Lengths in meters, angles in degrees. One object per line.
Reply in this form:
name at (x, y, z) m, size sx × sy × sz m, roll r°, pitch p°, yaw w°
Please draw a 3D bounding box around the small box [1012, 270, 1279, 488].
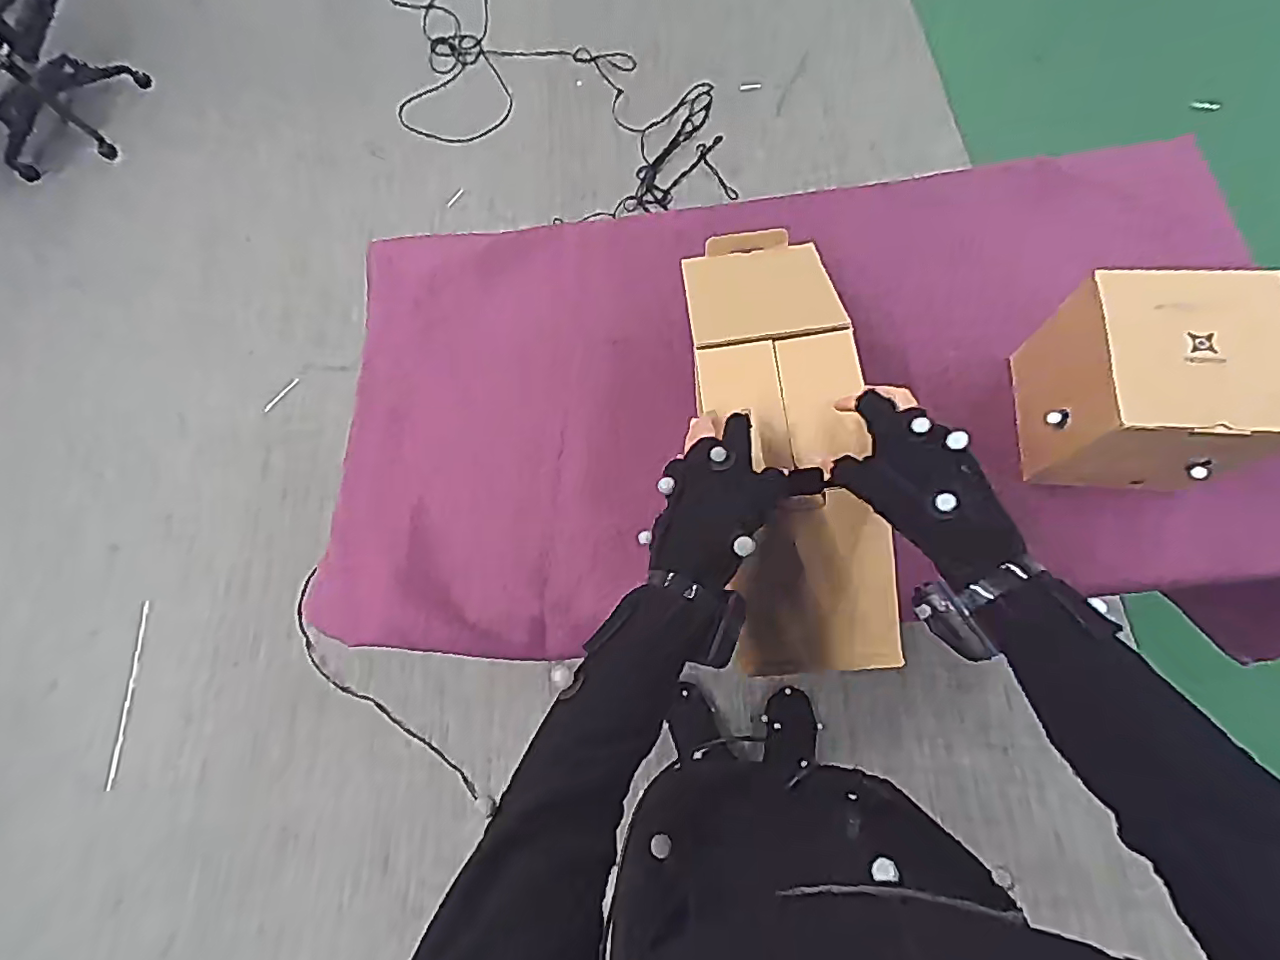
small box at (0.535, -0.098, 0.582) m, size 0.168 × 0.176 × 0.179 m, roll 4°, pitch 72°, yaw 9°
